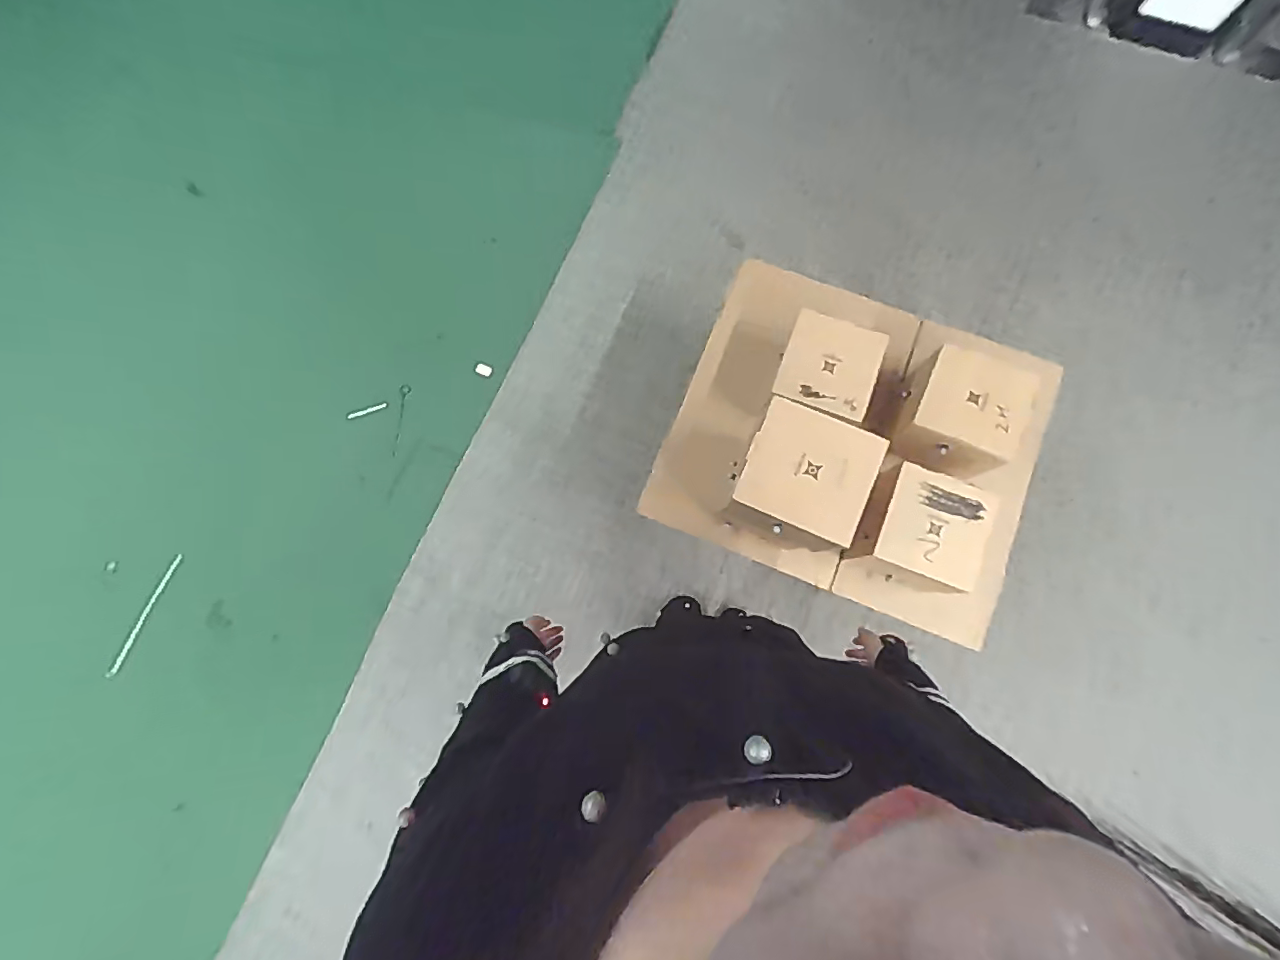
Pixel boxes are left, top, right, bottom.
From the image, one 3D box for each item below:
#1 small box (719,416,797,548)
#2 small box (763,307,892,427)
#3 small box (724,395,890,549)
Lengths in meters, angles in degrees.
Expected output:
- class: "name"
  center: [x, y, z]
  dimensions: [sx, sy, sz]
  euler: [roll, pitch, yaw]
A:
- class: "small box"
  center: [0.251, 0.013, 0.988]
  dimensions: [0.168, 0.176, 0.179]
  euler: [24, 80, 7]
- class: "small box"
  center: [0.342, -0.188, 1.021]
  dimensions: [0.168, 0.176, 0.179]
  euler: [21, 80, 9]
- class: "small box"
  center: [0.240, -0.001, 0.825]
  dimensions: [0.179, 0.176, 0.168]
  euler: [24, 83, 7]
